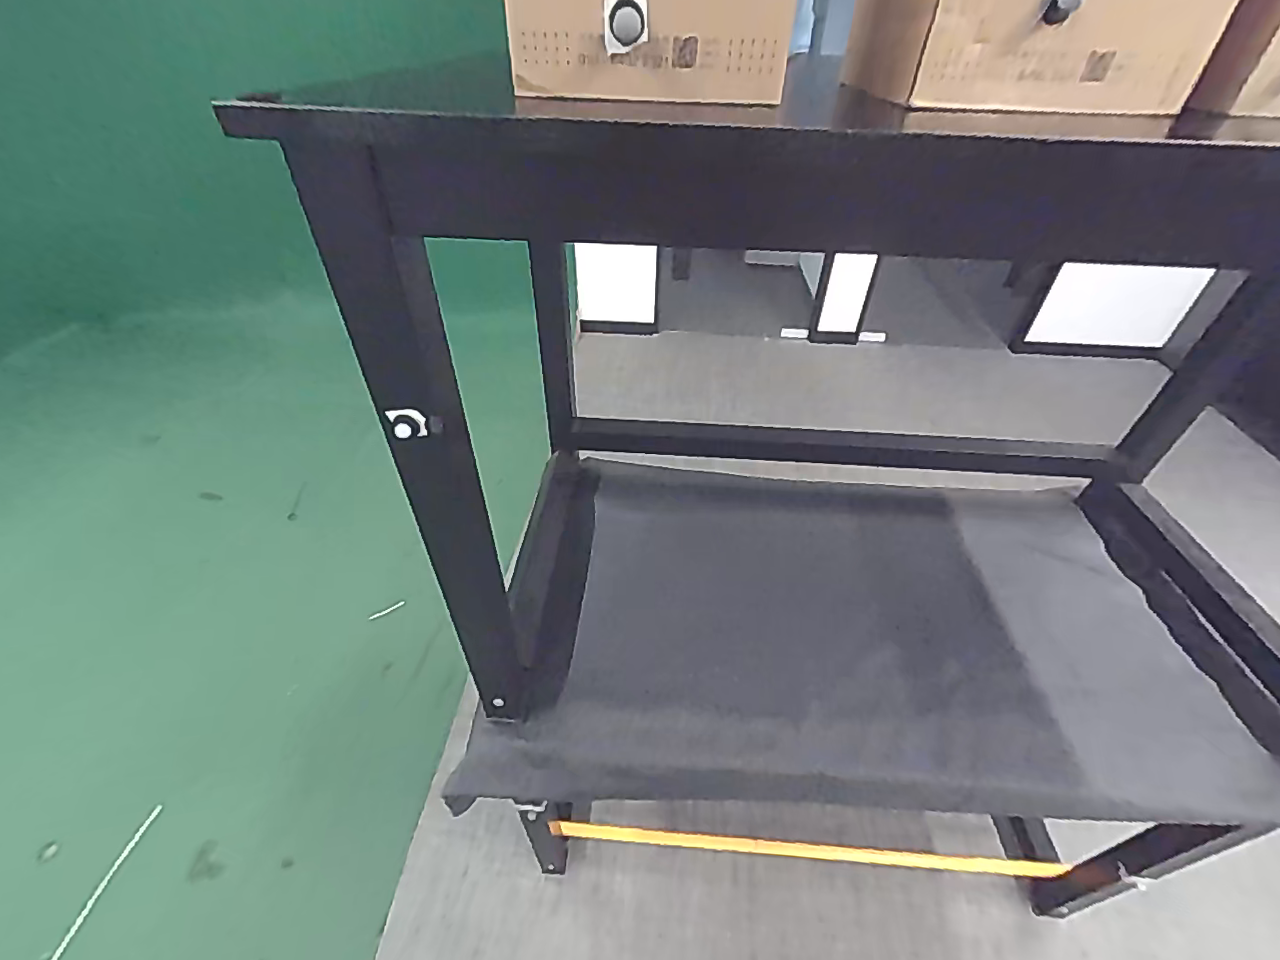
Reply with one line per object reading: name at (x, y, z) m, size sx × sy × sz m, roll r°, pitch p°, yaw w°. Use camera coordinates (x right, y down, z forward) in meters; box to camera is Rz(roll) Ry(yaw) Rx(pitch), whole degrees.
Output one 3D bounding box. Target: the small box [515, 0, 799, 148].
small box at (0.010, -0.333, 0.355) m, size 0.168 × 0.176 × 0.179 m, roll 1°, pitch 41°, yaw 1°
